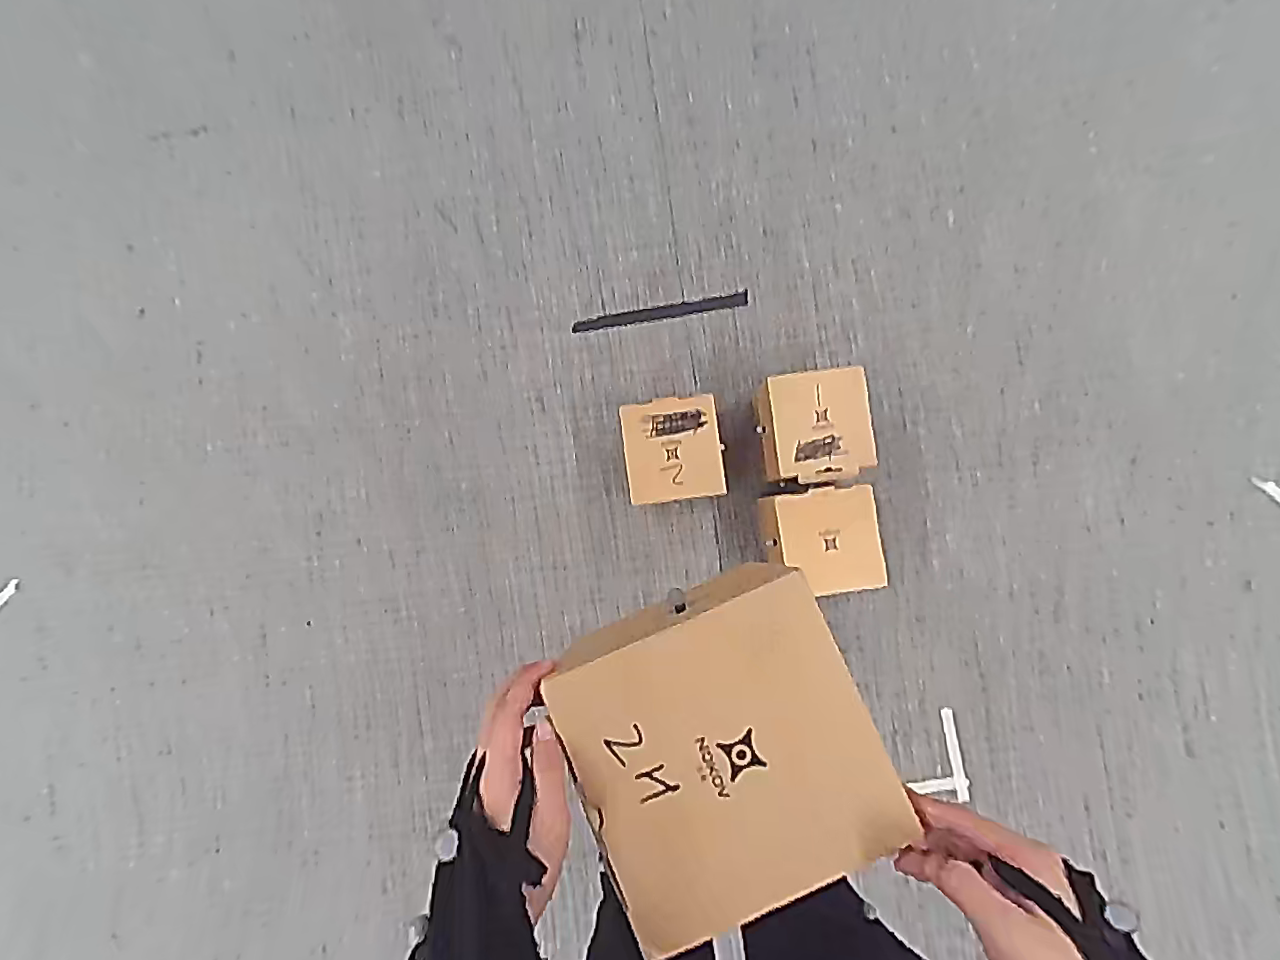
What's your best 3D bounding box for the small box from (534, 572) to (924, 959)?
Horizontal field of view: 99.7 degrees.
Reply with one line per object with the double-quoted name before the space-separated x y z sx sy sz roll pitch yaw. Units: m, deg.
"small box" 0.048 0.172 0.382 0.179 0.176 0.168 -24 82 -2
